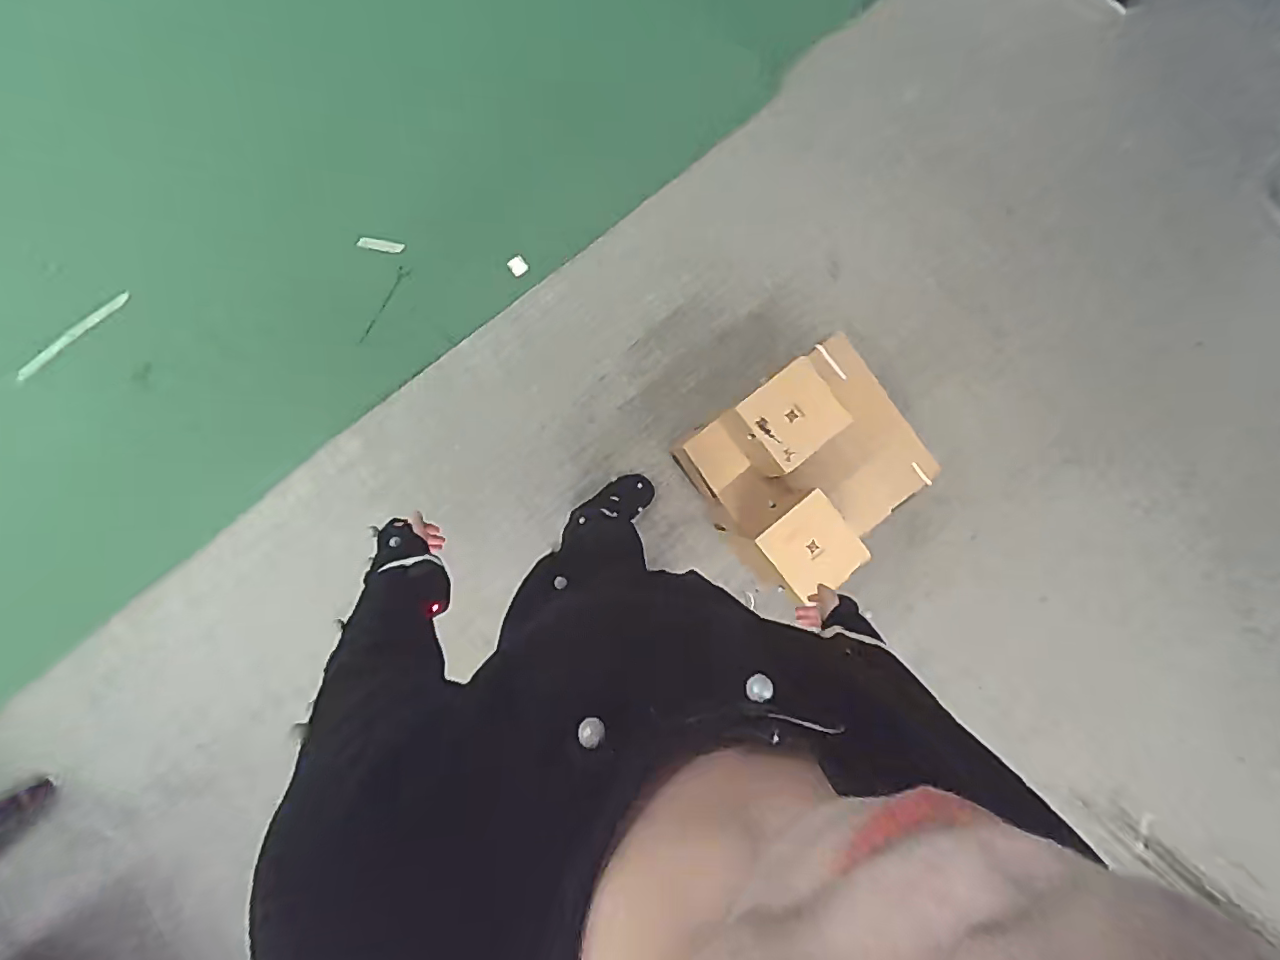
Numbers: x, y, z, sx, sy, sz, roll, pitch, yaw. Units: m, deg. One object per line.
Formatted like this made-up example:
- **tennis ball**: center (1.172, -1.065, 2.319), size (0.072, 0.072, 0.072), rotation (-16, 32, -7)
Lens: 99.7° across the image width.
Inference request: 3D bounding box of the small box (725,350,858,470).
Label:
- **small box**: center (0.303, -0.136, 1.120), size (0.179, 0.176, 0.168), rotation (-37, 90, -4)

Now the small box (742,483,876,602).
- **small box**: center (0.339, 0.120, 1.117), size (0.168, 0.176, 0.179), rotation (-39, 91, -4)
